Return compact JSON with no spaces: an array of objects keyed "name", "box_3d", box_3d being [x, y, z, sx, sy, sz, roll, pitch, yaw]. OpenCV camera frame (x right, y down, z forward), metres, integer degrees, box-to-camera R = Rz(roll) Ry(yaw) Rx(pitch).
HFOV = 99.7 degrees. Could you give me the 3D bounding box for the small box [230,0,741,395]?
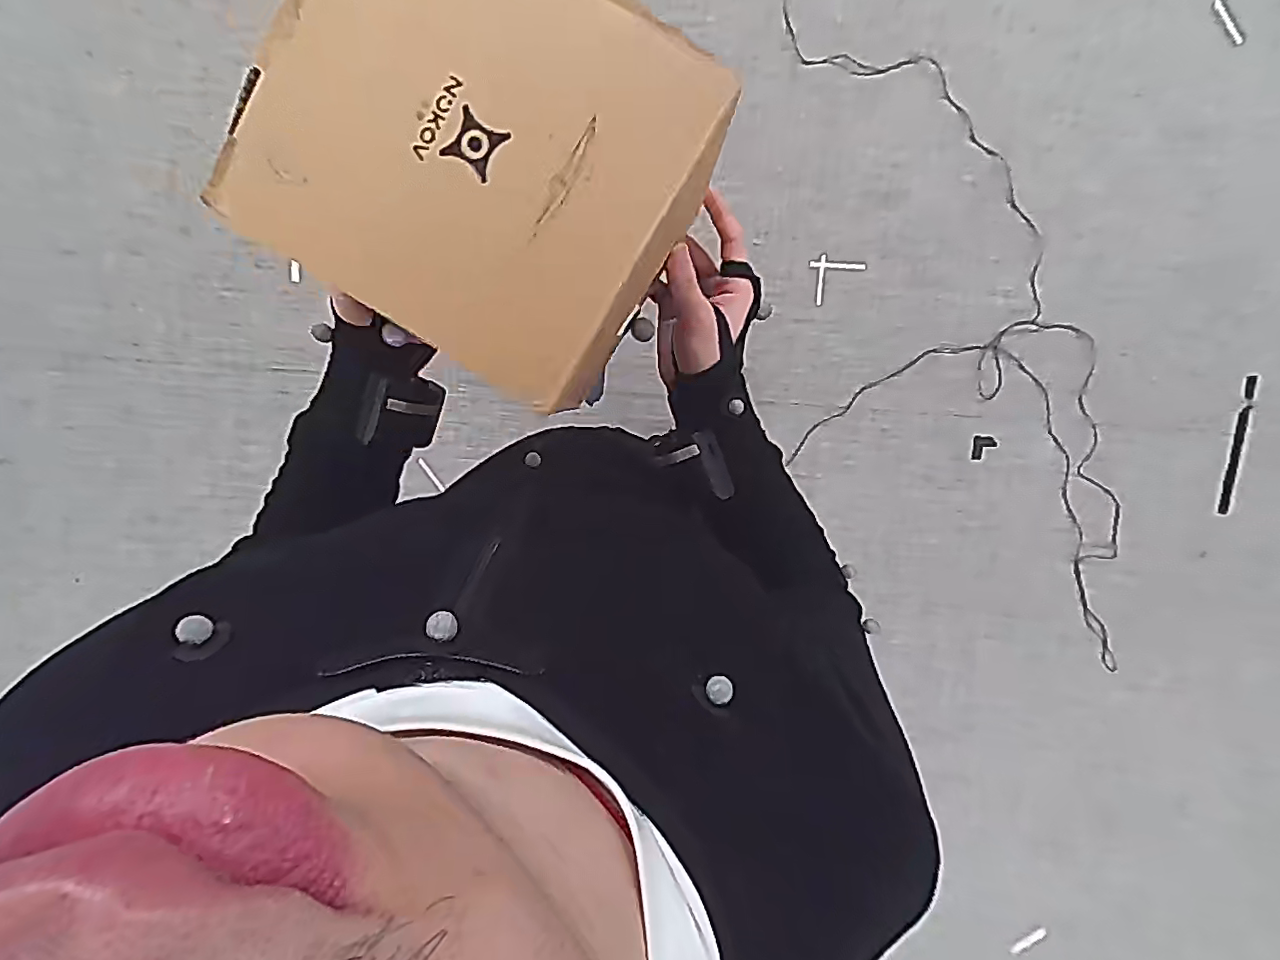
[{"name":"small box","box_3d":[-0.071,-0.160,0.319,0.179,0.176,0.168,30,97,-6]}]
